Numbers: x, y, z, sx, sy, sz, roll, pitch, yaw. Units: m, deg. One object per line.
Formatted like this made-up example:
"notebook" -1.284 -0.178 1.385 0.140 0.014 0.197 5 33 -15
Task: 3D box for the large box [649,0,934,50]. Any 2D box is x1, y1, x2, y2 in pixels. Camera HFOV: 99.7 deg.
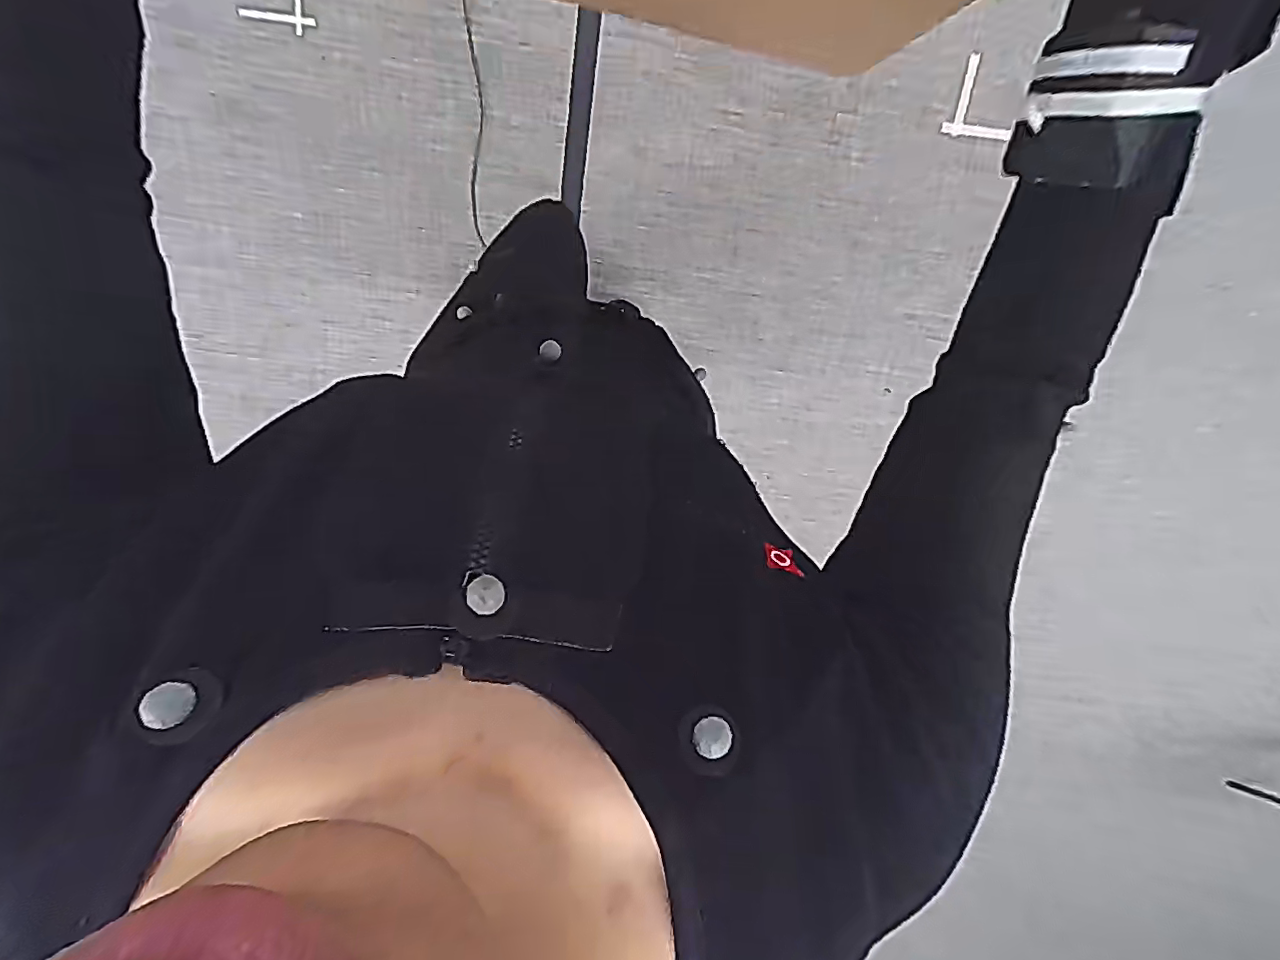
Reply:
"large box" 0.044 -0.483 0.267 0.408 0.320 0.320 8 115 -8
